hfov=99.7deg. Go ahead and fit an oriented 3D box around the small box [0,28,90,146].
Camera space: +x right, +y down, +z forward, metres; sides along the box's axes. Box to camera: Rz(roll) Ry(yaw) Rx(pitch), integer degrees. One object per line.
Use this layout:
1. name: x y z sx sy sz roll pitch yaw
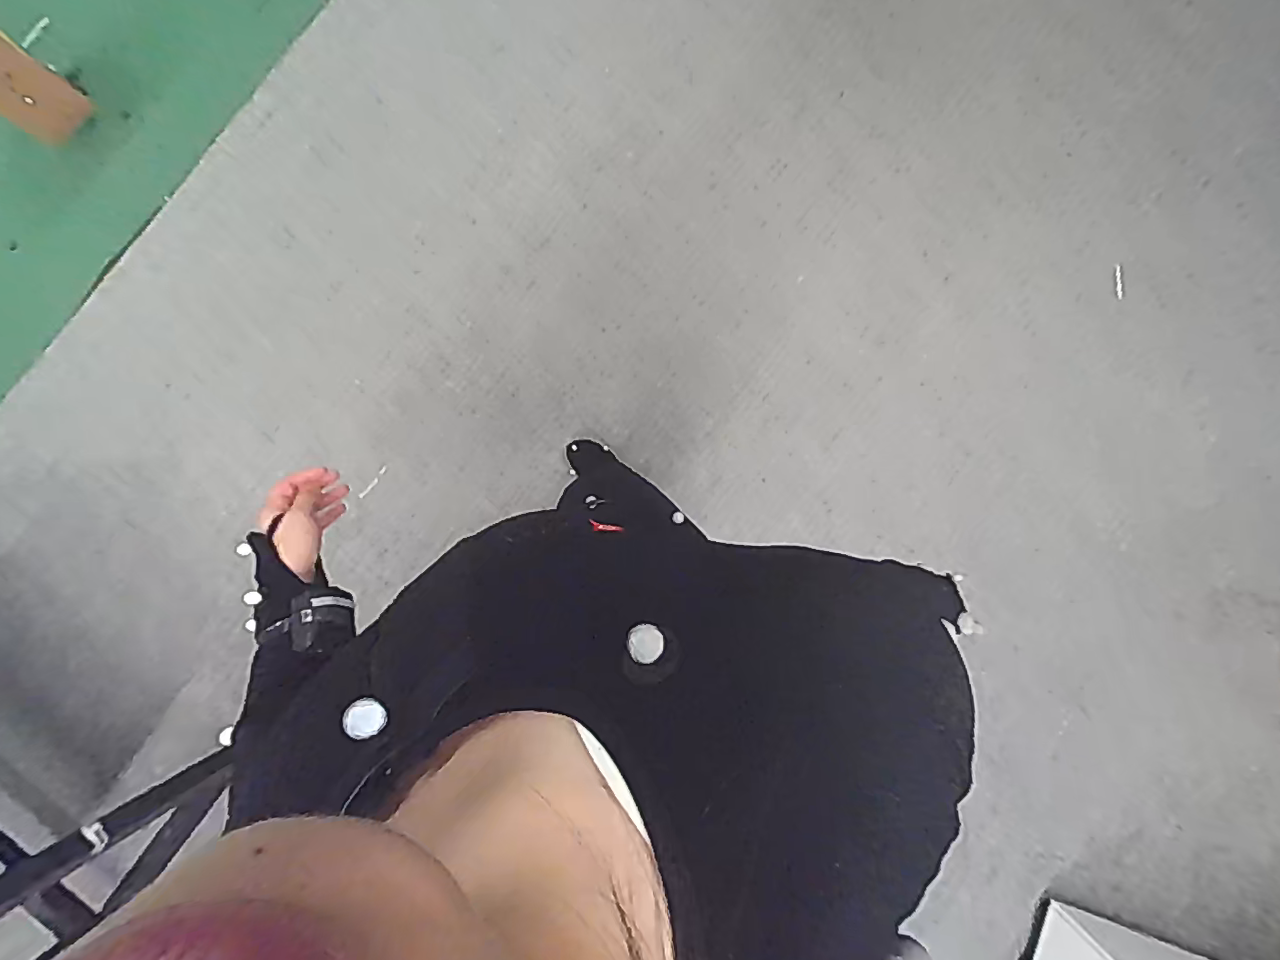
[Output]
1. small box: -1.703 -1.084 1.497 0.168 0.176 0.179 42 89 2
